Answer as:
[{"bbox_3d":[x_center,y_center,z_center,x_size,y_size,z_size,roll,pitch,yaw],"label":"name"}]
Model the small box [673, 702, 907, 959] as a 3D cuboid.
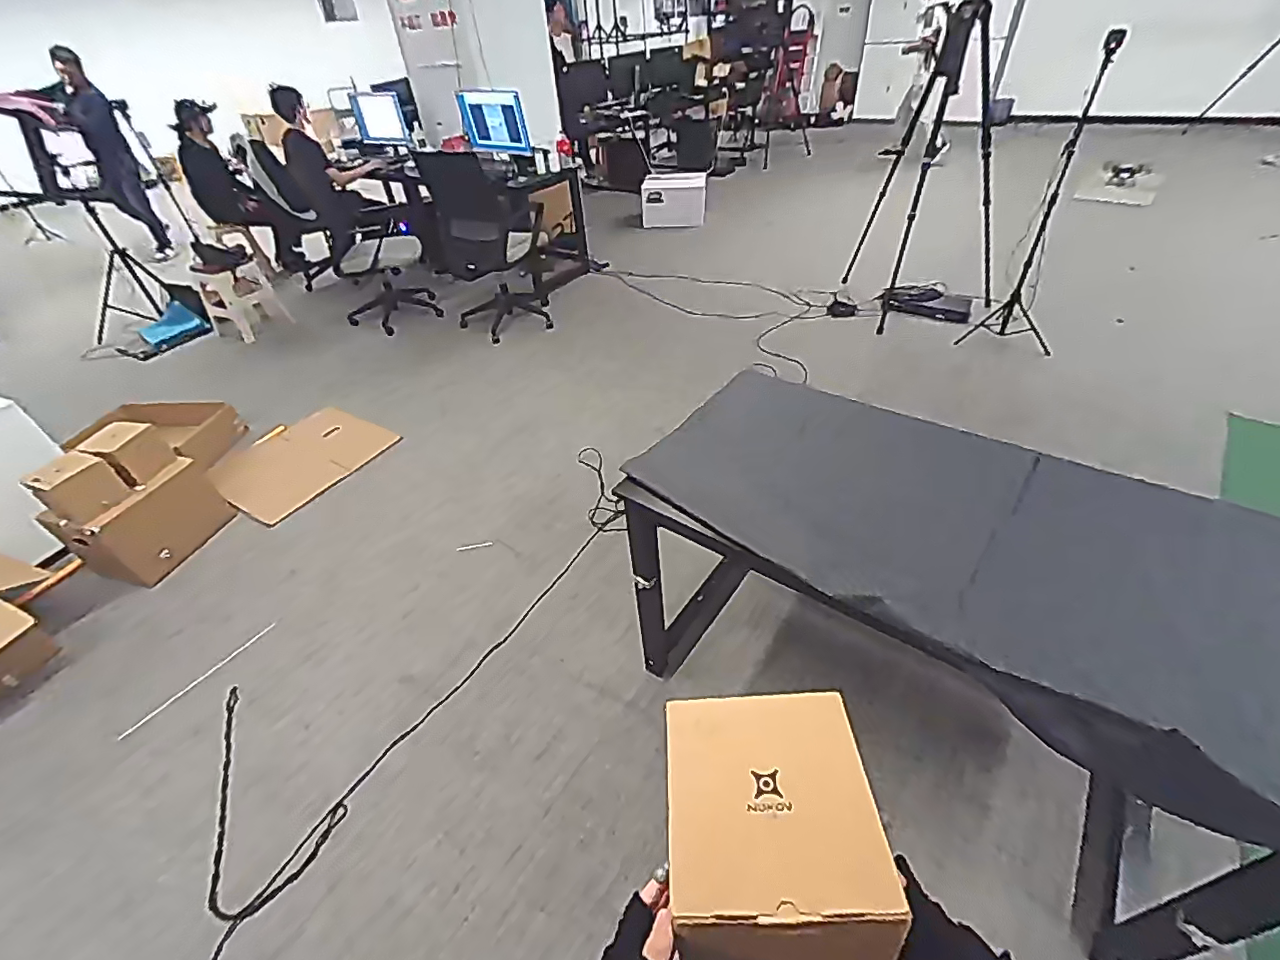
[{"bbox_3d":[0.118,0.333,0.497,0.168,0.176,0.179,-5,34,5],"label":"small box"}]
